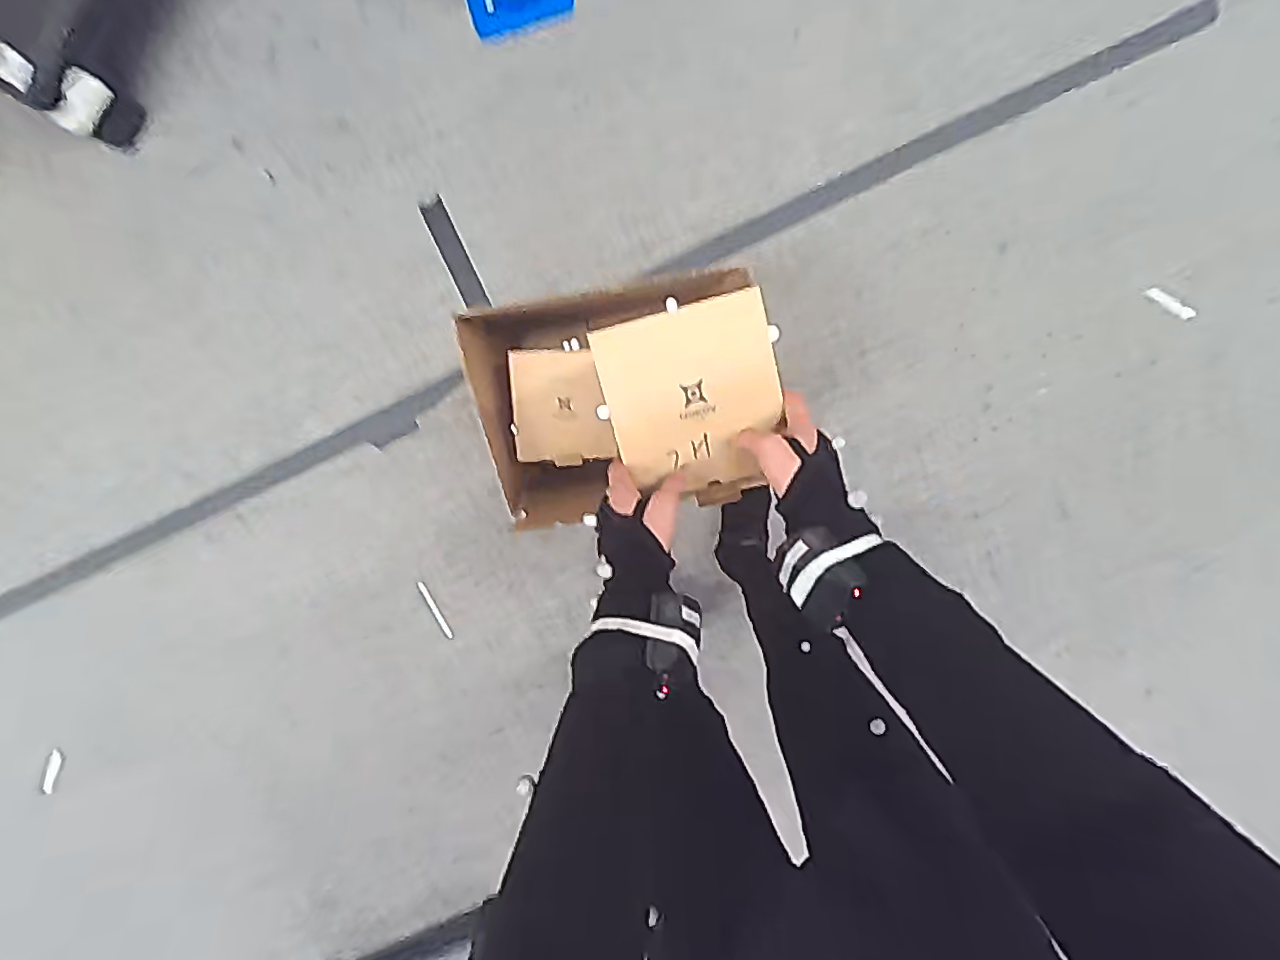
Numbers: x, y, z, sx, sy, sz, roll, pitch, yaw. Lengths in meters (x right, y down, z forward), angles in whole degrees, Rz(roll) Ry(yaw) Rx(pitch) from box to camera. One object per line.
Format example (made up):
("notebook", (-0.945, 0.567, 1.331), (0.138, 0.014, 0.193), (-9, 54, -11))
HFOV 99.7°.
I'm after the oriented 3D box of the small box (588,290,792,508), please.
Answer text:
("small box", (0.050, -0.089, 0.588), (0.168, 0.176, 0.179), (-14, 103, 5))
